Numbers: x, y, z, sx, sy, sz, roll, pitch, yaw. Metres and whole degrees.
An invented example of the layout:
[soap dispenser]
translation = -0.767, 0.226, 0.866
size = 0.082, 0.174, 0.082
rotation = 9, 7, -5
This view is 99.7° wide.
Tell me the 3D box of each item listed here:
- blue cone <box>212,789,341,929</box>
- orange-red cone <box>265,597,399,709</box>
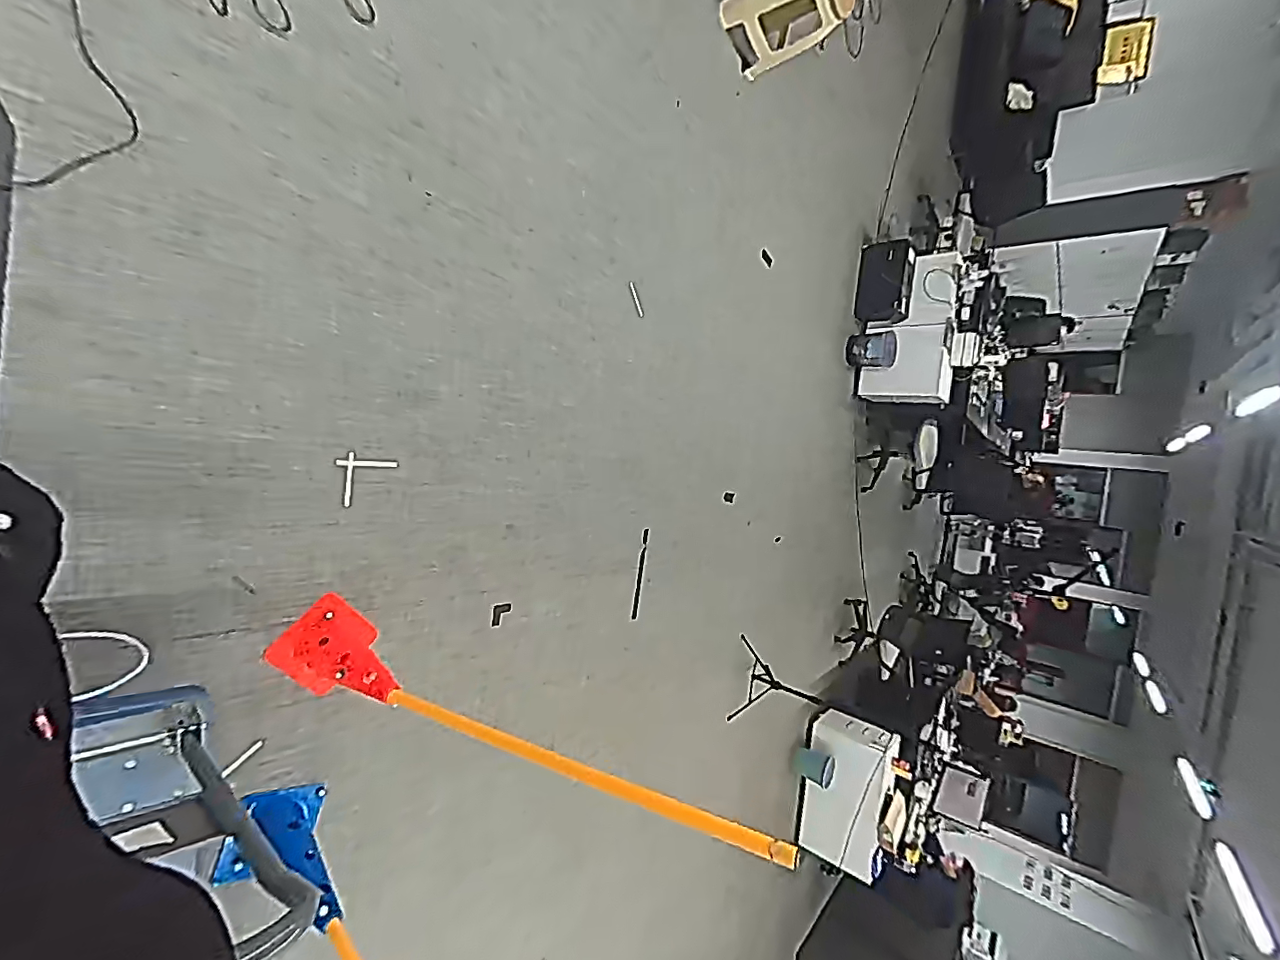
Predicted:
[blue cone]
translation = -0.757, 0.861, 1.184
size = 0.193, 0.380, 0.192
rotation = 28, 74, -50
[orange-red cone]
translation = -0.646, 0.433, 1.221
size = 0.199, 0.360, 0.198
rotation = -51, 132, -31
